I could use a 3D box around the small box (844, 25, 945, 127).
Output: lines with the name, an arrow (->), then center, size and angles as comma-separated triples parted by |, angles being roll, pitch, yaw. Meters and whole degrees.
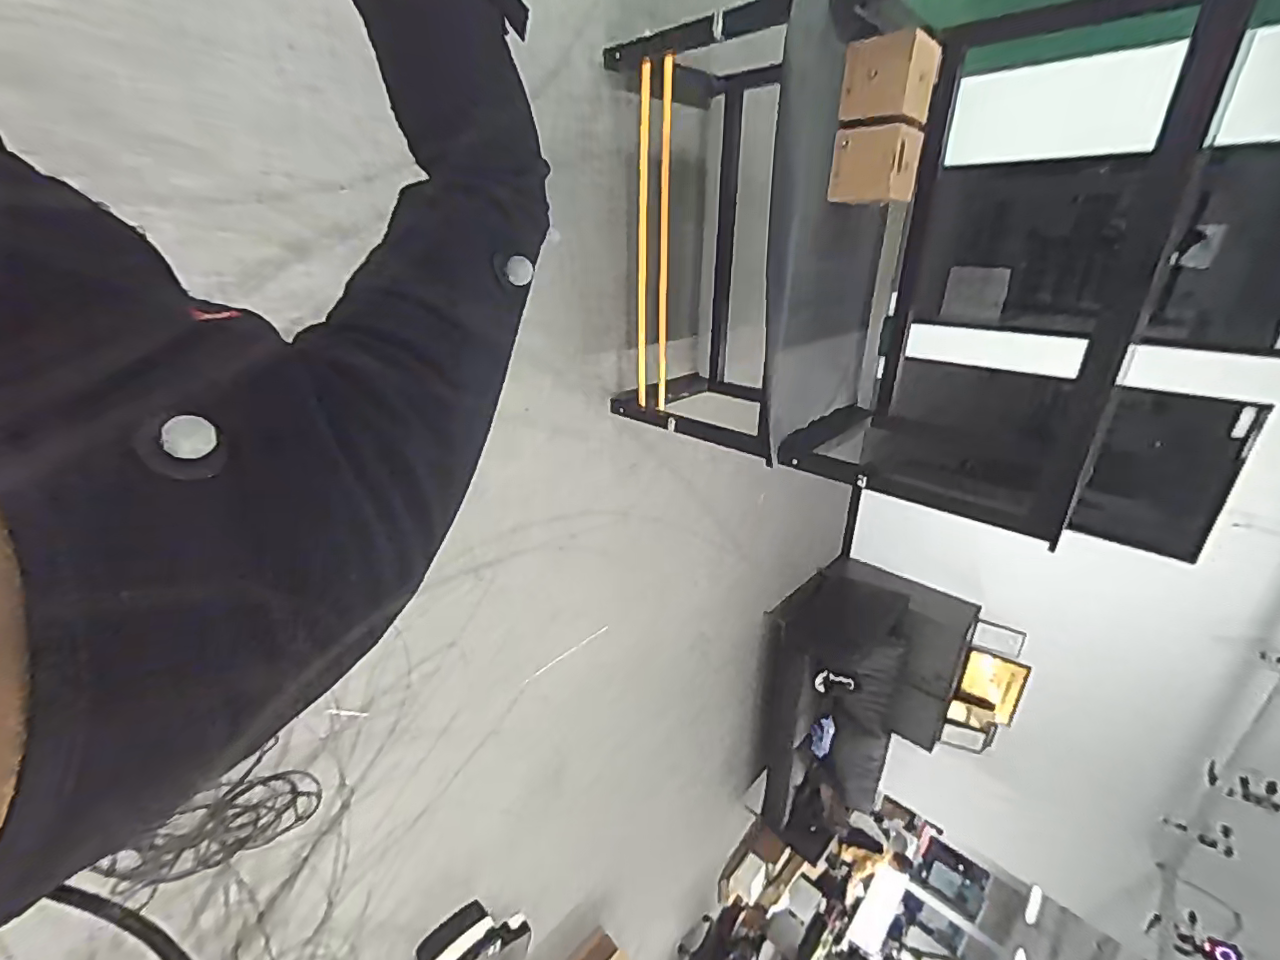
small box -> 0.636, -1.006, 1.363 | 0.179, 0.176, 0.168 | -21, 124, -43
